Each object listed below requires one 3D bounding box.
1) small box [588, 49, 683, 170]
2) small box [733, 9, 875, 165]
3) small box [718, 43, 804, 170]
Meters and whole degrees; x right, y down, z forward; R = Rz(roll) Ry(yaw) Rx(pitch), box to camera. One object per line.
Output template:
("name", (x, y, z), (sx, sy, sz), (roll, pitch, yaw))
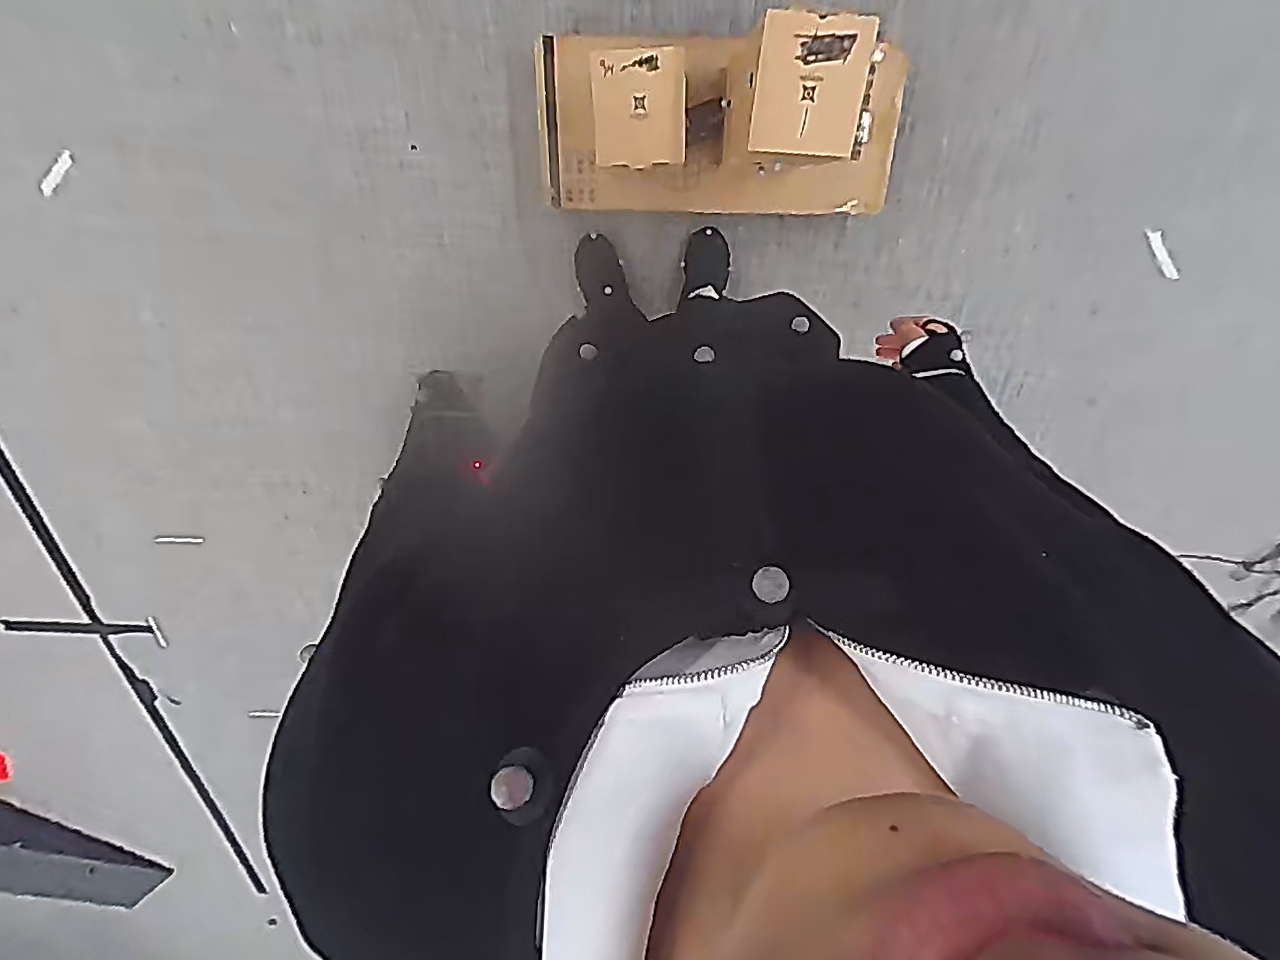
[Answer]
("small box", (-0.005, -0.692, 1.028), (0.168, 0.176, 0.179), (-1, 118, 1))
("small box", (0.251, -0.623, 0.879), (0.168, 0.176, 0.179), (4, 118, -1))
("small box", (0.243, -0.697, 1.025), (0.168, 0.176, 0.179), (0, 117, 0))
